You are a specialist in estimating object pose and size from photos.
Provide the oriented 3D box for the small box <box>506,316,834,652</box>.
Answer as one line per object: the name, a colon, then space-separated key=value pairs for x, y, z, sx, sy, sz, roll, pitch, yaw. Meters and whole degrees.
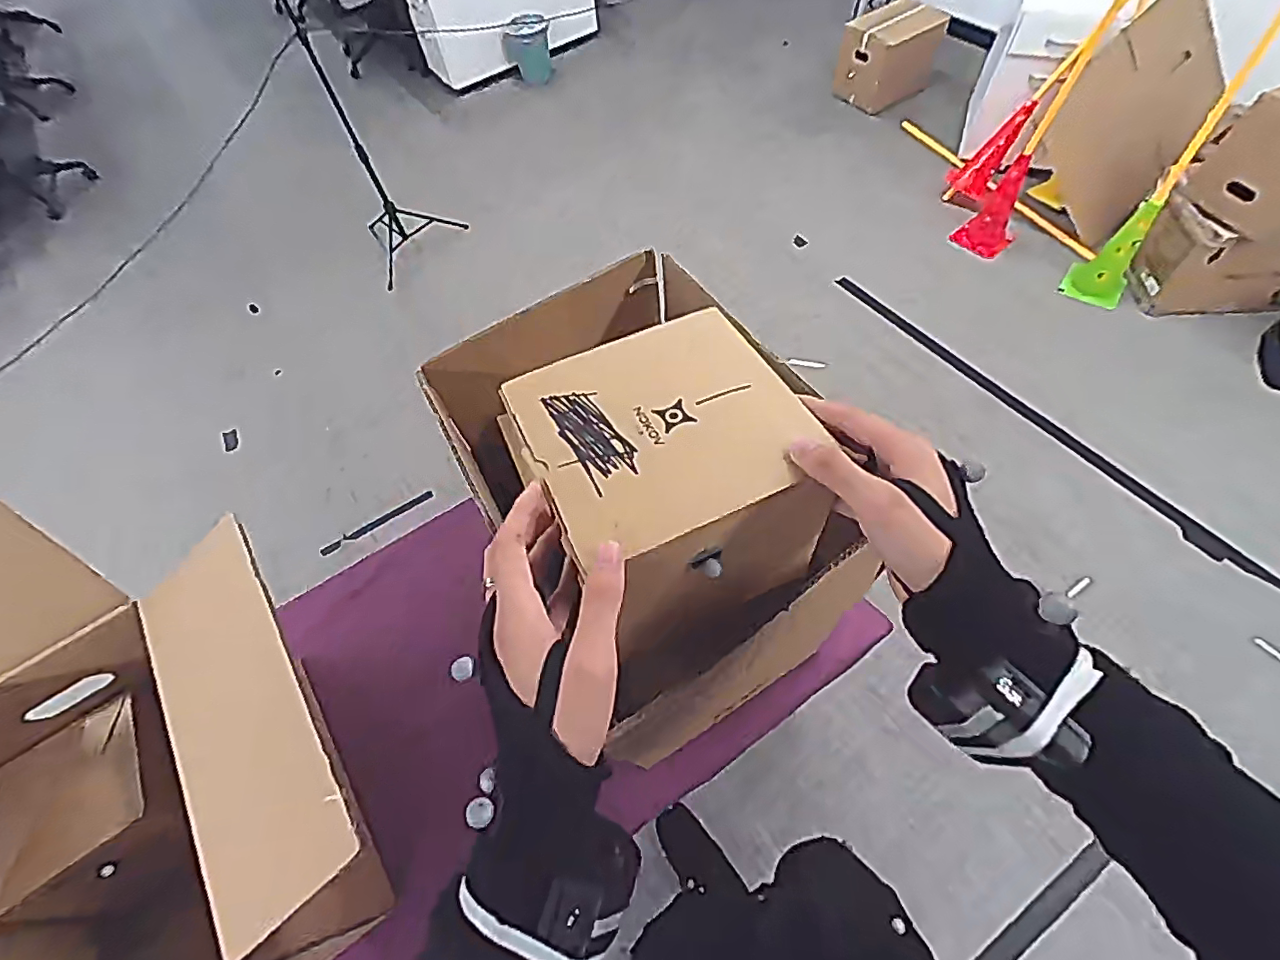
small box: x=0.019 y=0.008 z=0.427 sx=0.179 sy=0.176 sz=0.168 roll=-23 pitch=56 yaw=-12
